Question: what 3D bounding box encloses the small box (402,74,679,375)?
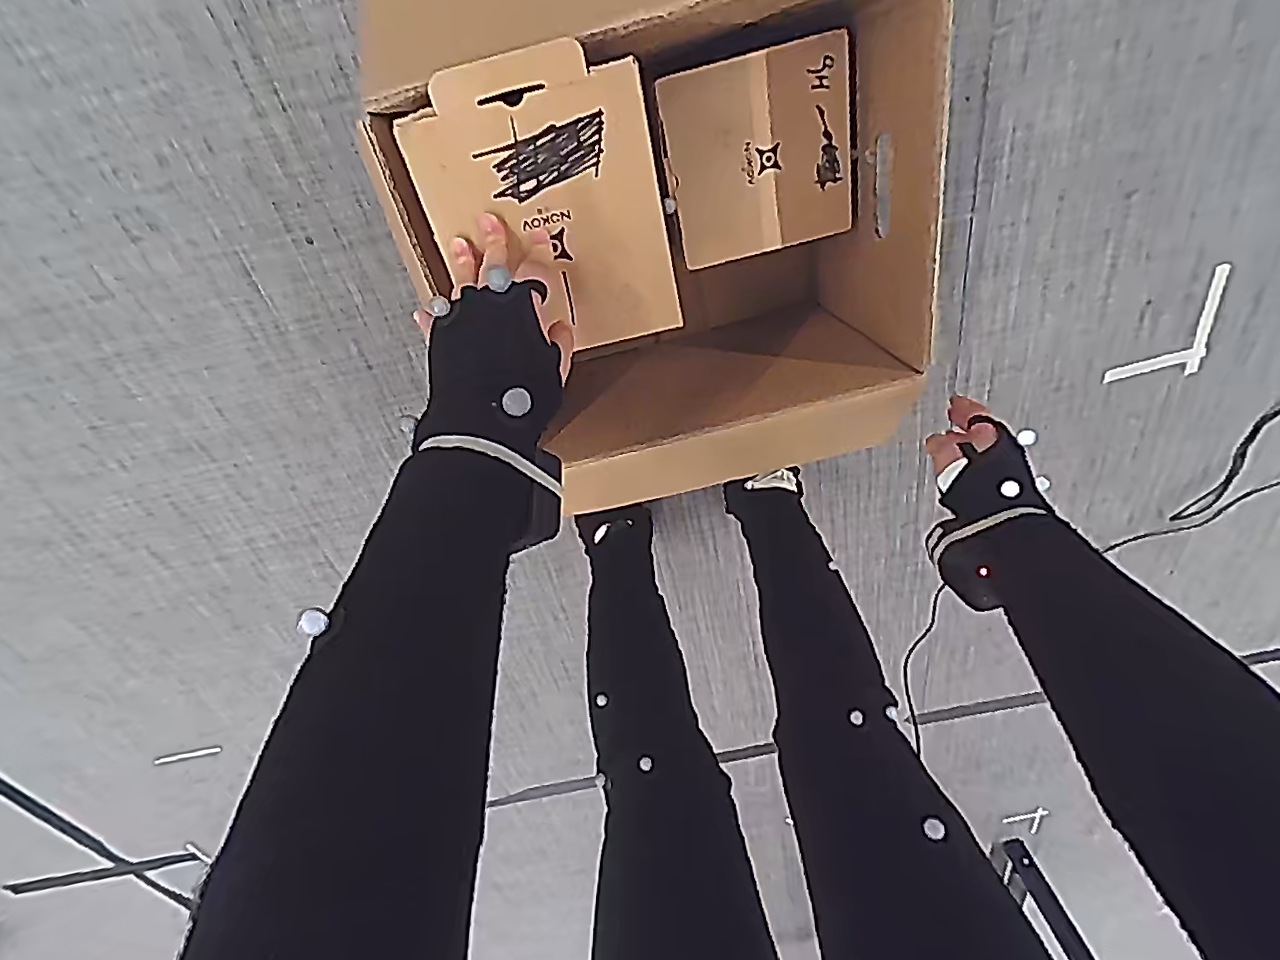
[{"bbox_3d":[-0.068,-0.215,0.466,0.168,0.176,0.179,-12,122,5],"label":"small box"}]
